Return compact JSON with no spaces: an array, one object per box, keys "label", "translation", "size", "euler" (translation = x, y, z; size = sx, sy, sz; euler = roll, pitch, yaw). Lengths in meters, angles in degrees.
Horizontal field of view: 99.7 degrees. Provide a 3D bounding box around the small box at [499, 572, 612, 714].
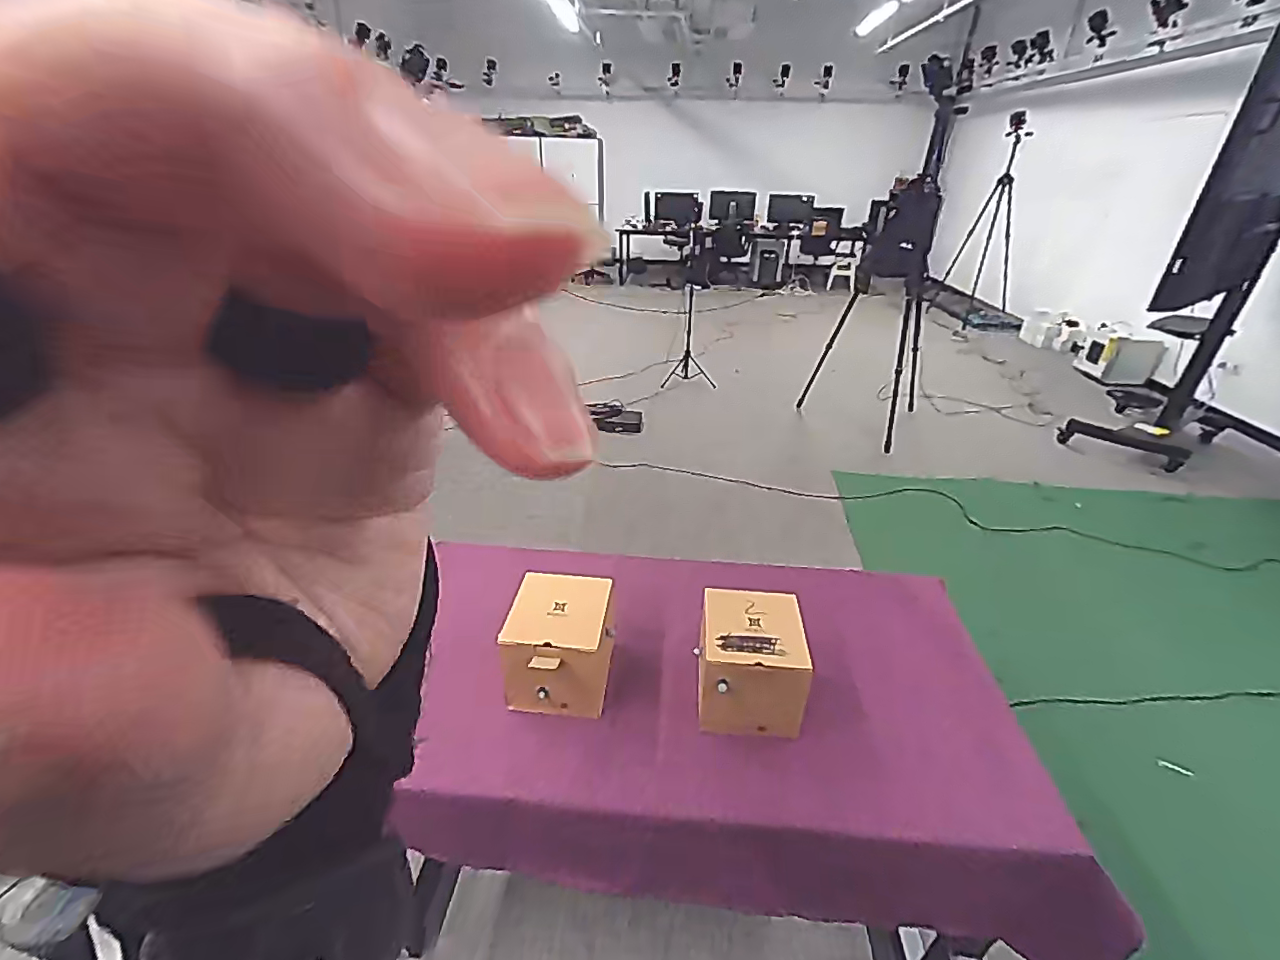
[{"label":"small box","translation":[-0.146,0.294,0.992],"size":[0.168,0.176,0.179],"euler":[4,31,4]}]
